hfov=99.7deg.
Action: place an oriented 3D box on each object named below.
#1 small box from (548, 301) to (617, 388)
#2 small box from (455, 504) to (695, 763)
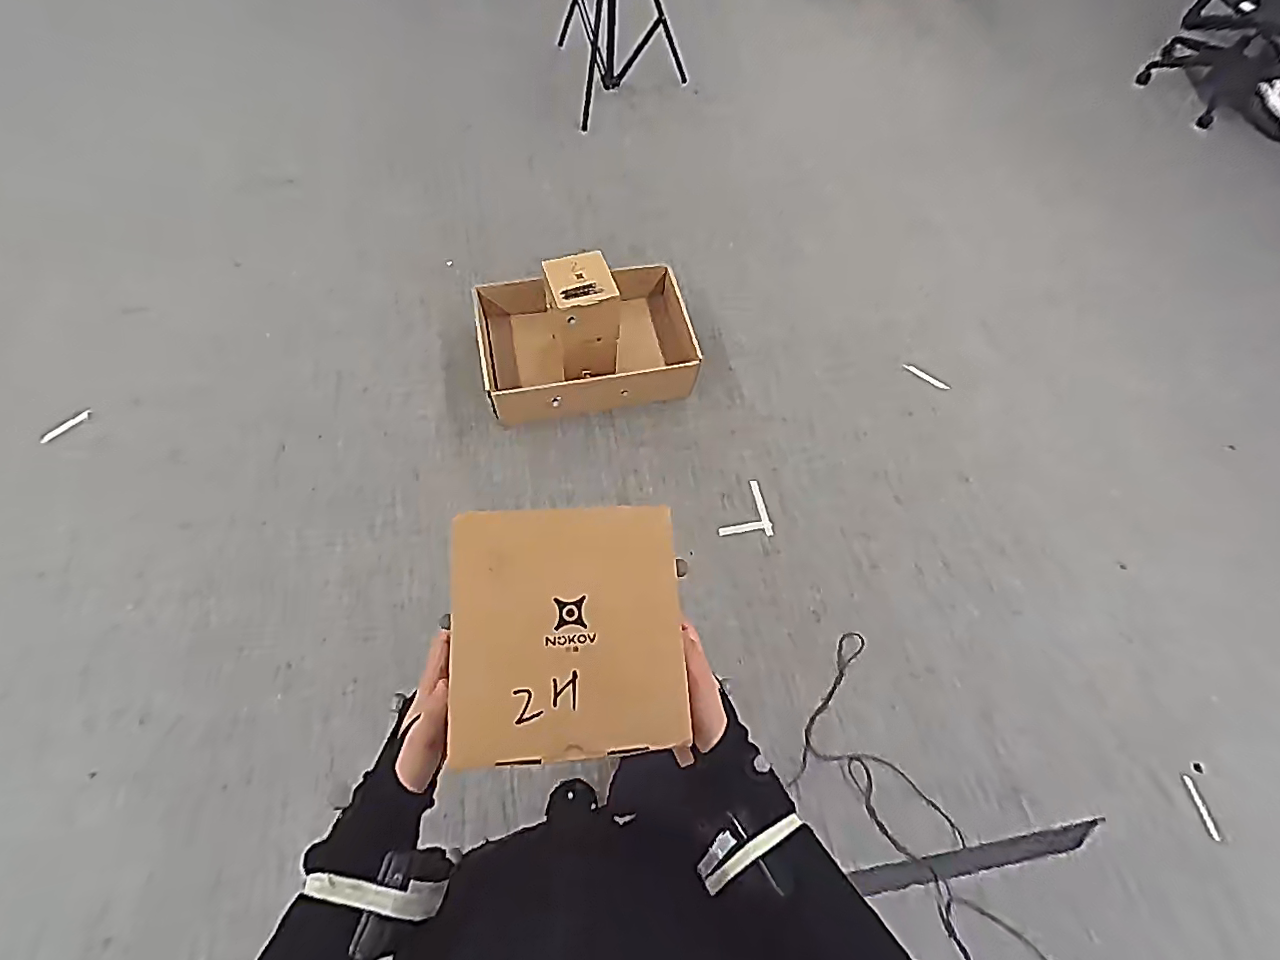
[{"bbox_3d":[-0.174,-0.406,1.632,0.168,0.176,0.179,-16,68,-11],"label":"small box"},{"bbox_3d":[-0.058,0.129,0.467,0.168,0.176,0.179,-2,72,-8],"label":"small box"}]
